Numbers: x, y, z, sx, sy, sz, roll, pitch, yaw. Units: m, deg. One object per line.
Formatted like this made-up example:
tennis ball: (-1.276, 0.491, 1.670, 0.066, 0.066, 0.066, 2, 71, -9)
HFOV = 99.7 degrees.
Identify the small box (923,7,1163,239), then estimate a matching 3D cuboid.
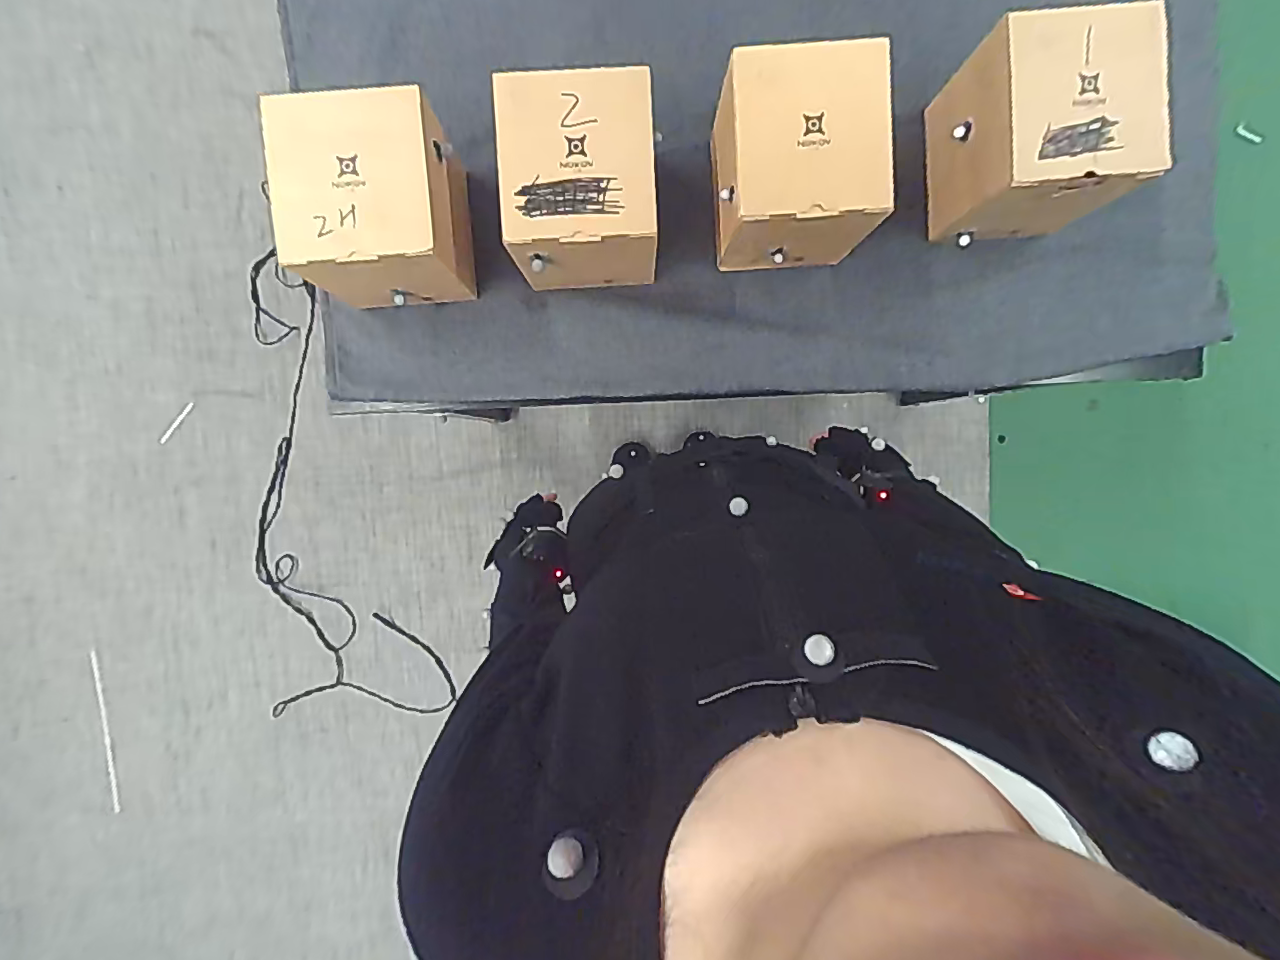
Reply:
small box: (0.462, -0.403, 0.645, 0.168, 0.176, 0.179, -4, 93, 0)

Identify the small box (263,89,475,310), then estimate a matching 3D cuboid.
small box: (-0.304, -0.317, 0.641, 0.168, 0.176, 0.179, -5, 92, -1)

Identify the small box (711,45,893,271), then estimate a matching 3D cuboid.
small box: (0.181, -0.369, 0.648, 0.168, 0.176, 0.179, -4, 94, 0)
